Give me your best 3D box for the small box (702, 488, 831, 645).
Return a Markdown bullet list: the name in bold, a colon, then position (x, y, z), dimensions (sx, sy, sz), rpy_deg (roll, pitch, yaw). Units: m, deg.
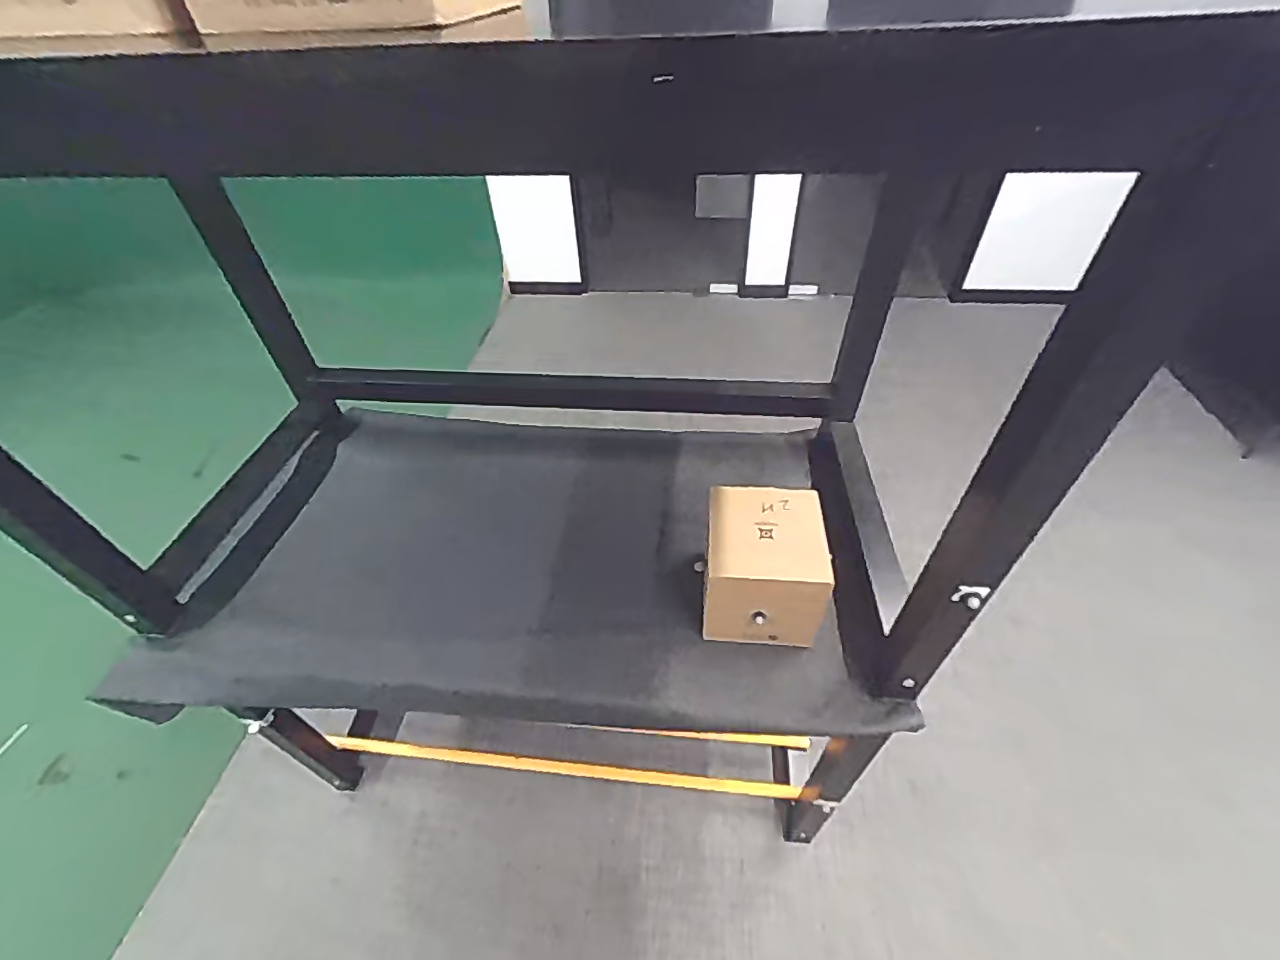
- **small box**: position (0.184, 0.134, 0.831), dimensions (0.168, 0.176, 0.179), rpy_deg (3, 43, 6)
